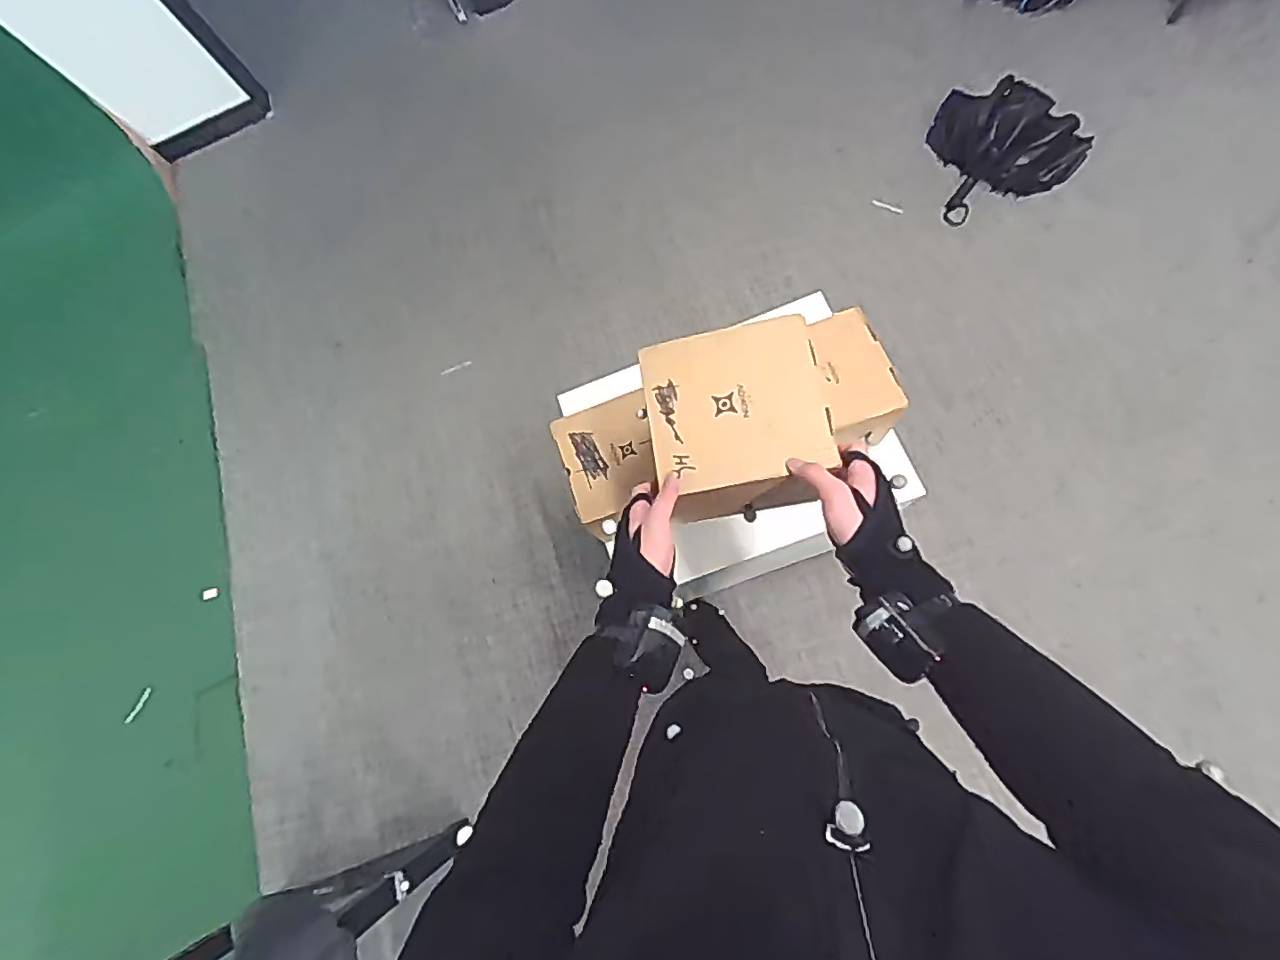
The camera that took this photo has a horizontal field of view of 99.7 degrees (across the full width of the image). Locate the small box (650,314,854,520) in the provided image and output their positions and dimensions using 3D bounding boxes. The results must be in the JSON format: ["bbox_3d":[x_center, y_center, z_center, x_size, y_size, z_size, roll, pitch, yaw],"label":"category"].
[{"bbox_3d":[0.115,-0.057,0.603,0.179,0.176,0.168,-10,75,7],"label":"small box"}]

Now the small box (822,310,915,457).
[{"bbox_3d":[0.274,-0.120,0.818,0.179,0.176,0.168,-19,73,5],"label":"small box"}]

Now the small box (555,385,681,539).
[{"bbox_3d":[-0.009,-0.019,0.832,0.179,0.176,0.168,-20,74,1],"label":"small box"}]
